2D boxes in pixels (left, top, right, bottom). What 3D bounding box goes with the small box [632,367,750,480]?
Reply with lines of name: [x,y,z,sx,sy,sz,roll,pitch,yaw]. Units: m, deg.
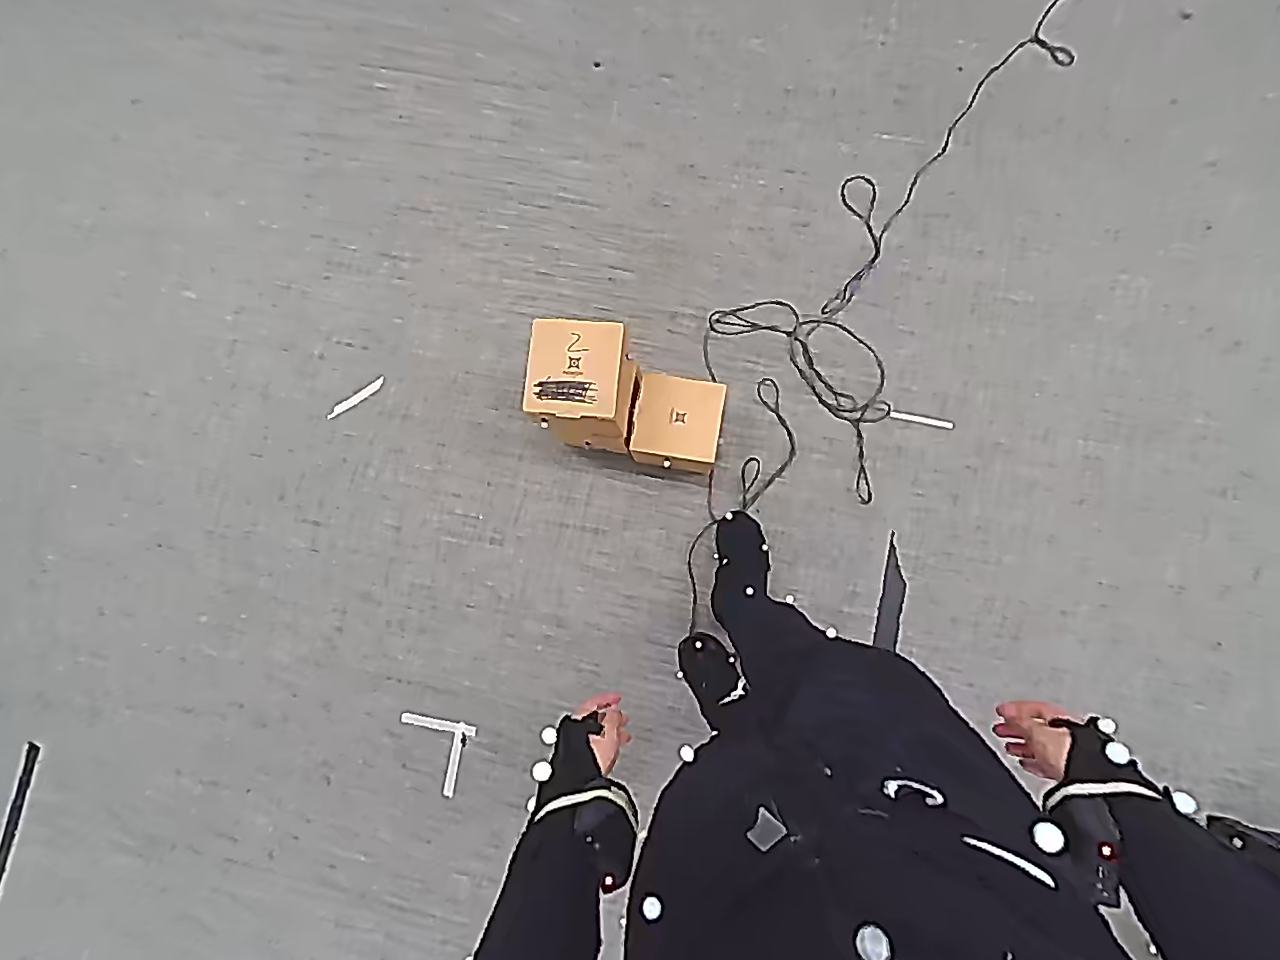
small box: [0.096,-0.113,1.096,0.168,0.176,0.179,36,97,-6]
